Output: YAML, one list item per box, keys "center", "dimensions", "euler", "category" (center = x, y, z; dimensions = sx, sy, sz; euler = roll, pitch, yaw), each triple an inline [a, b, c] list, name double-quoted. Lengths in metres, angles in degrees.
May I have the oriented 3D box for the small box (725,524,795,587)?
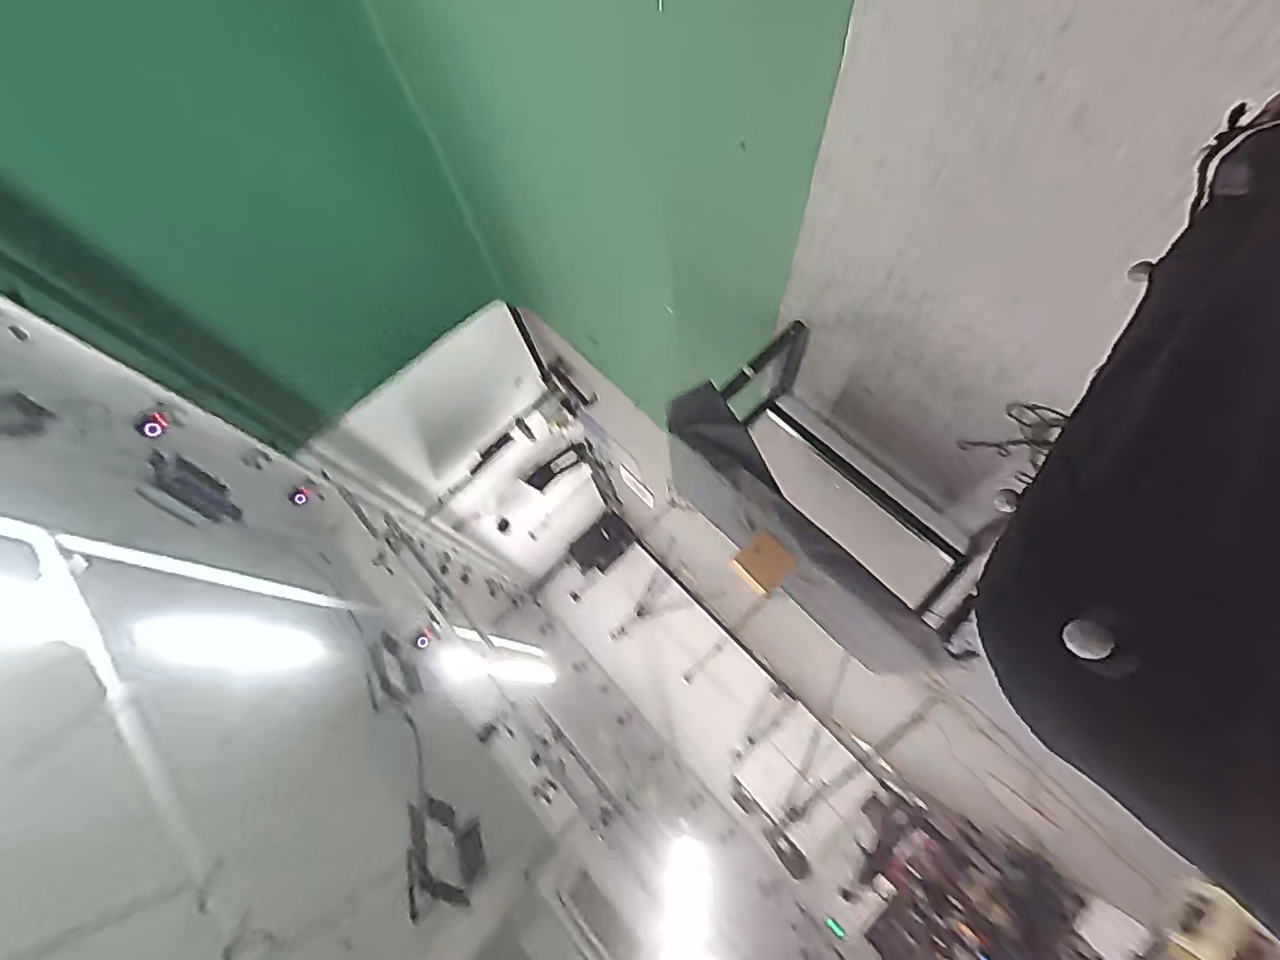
- center: [0.457, 0.285, 2.069]
  dimensions: [0.179, 0.176, 0.168]
  euler: [45, 171, 10]
  category: "small box"
